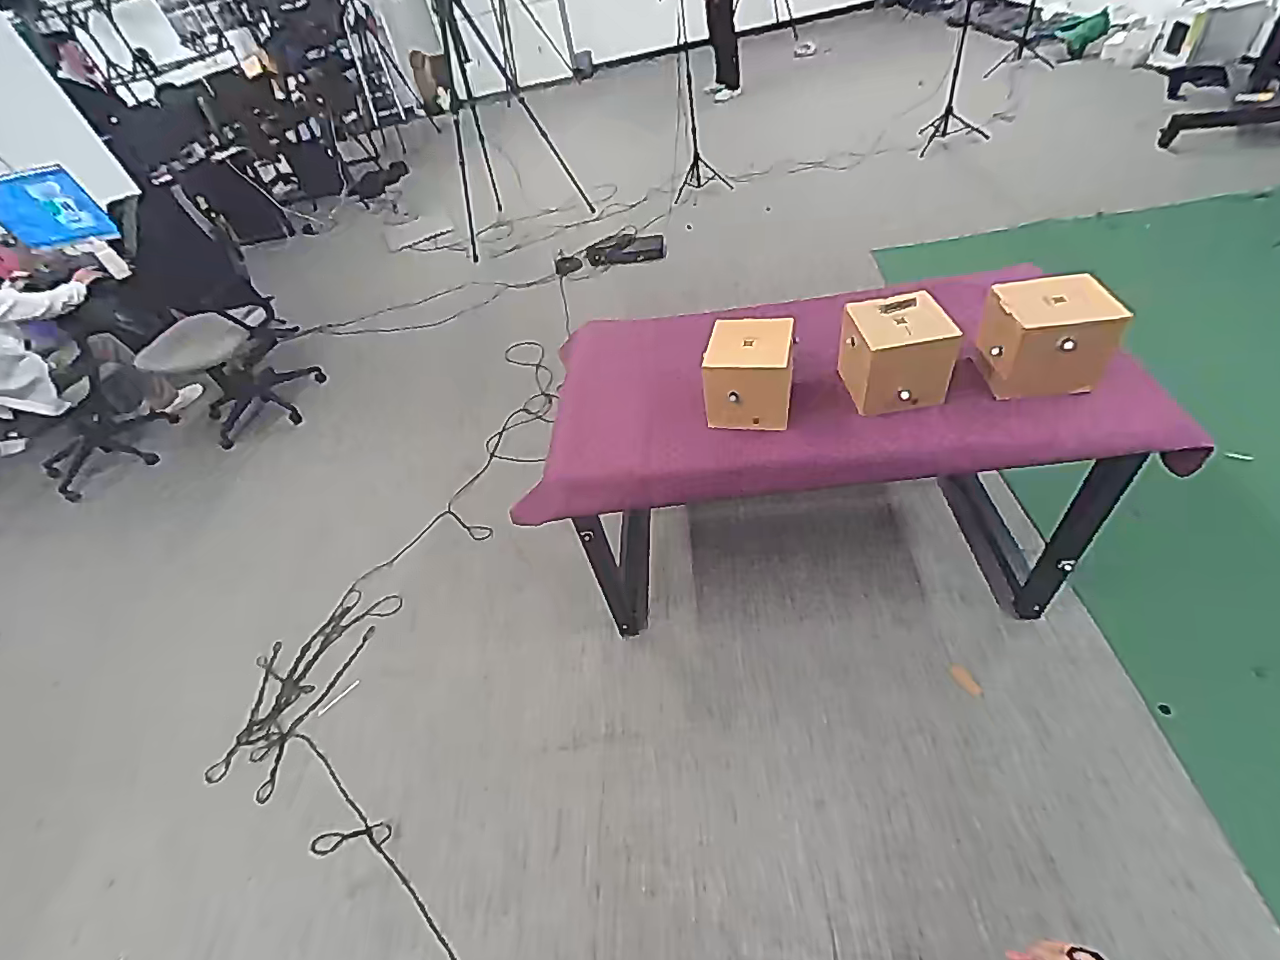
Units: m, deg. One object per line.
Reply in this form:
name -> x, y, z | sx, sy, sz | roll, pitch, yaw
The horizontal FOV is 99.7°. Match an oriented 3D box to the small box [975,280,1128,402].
small box -> 0.785, -0.268, 1.062 | 0.179, 0.176, 0.168 | -3, 45, 11

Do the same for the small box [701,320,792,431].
small box -> 0.233, -0.221, 1.152 | 0.168, 0.176, 0.179 | 4, 47, 18

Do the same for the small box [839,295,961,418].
small box -> 0.519, -0.253, 1.112 | 0.168, 0.176, 0.179 | -8, 46, 6
